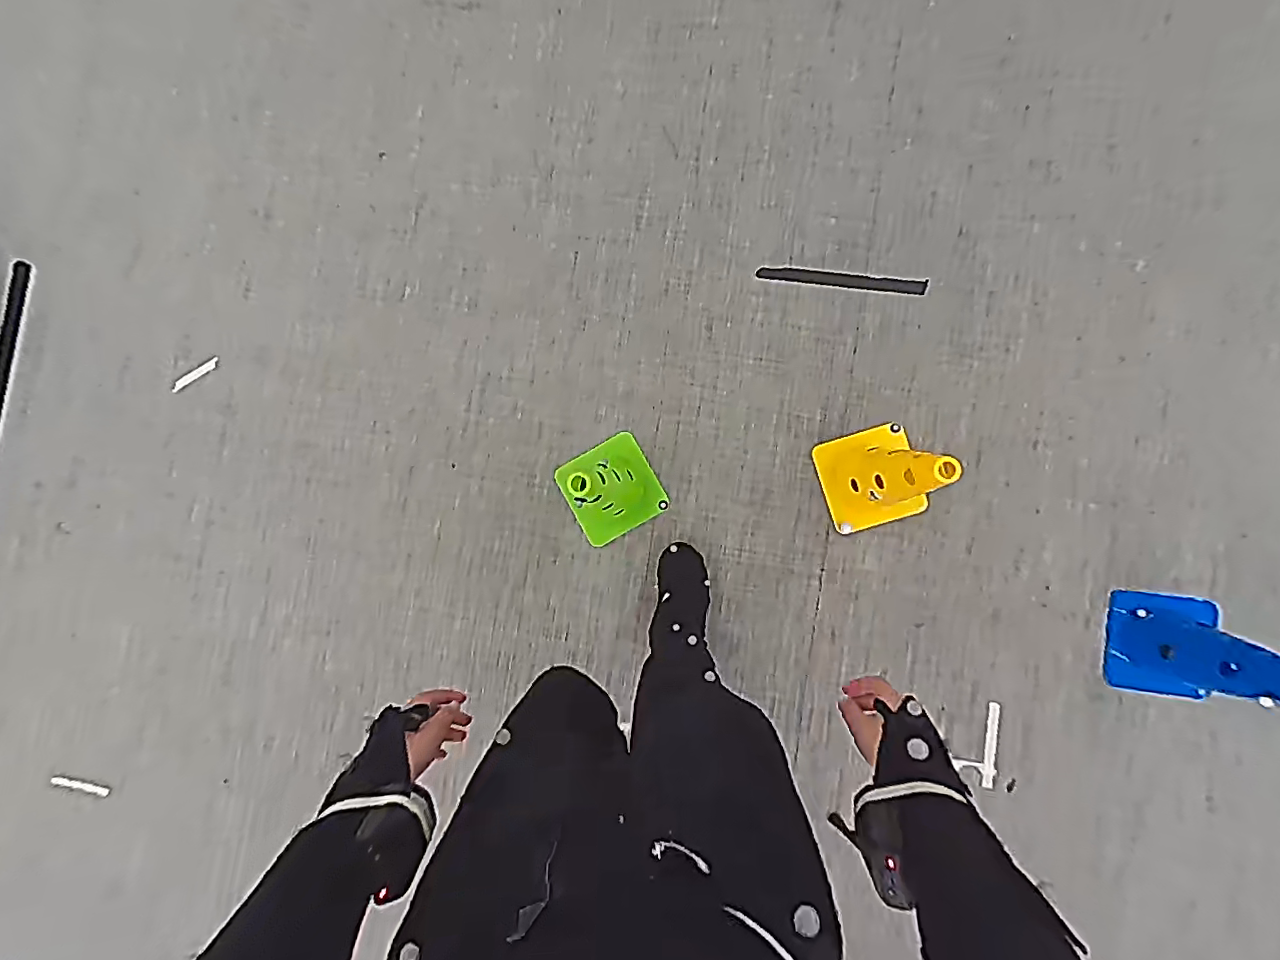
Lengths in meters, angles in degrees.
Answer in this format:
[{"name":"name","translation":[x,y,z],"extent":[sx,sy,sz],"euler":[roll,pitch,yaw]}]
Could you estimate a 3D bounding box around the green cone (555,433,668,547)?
[{"name":"green cone","translation":[-0.083,0.014,1.026],"extent":[0.202,0.368,0.200],"euler":[-31,84,4]}]
